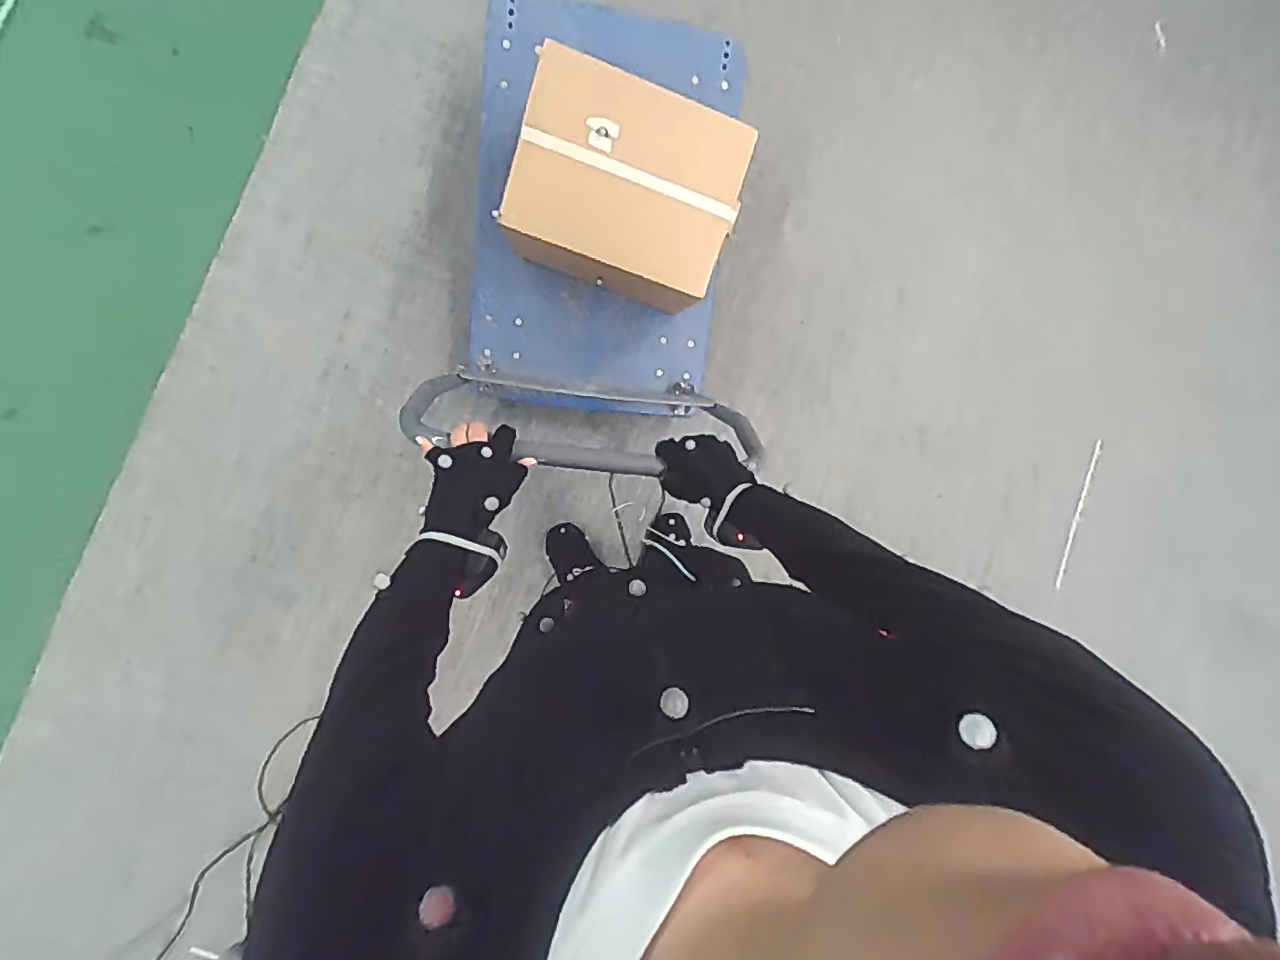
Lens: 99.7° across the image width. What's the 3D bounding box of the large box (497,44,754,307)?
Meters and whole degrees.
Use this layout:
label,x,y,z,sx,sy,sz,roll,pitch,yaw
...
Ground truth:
label,x,y,z,sx,sy,sz,roll,pitch,yaw
large box,-0.035,-0.582,1.121,0.408,0.320,0.320,18,100,-8
